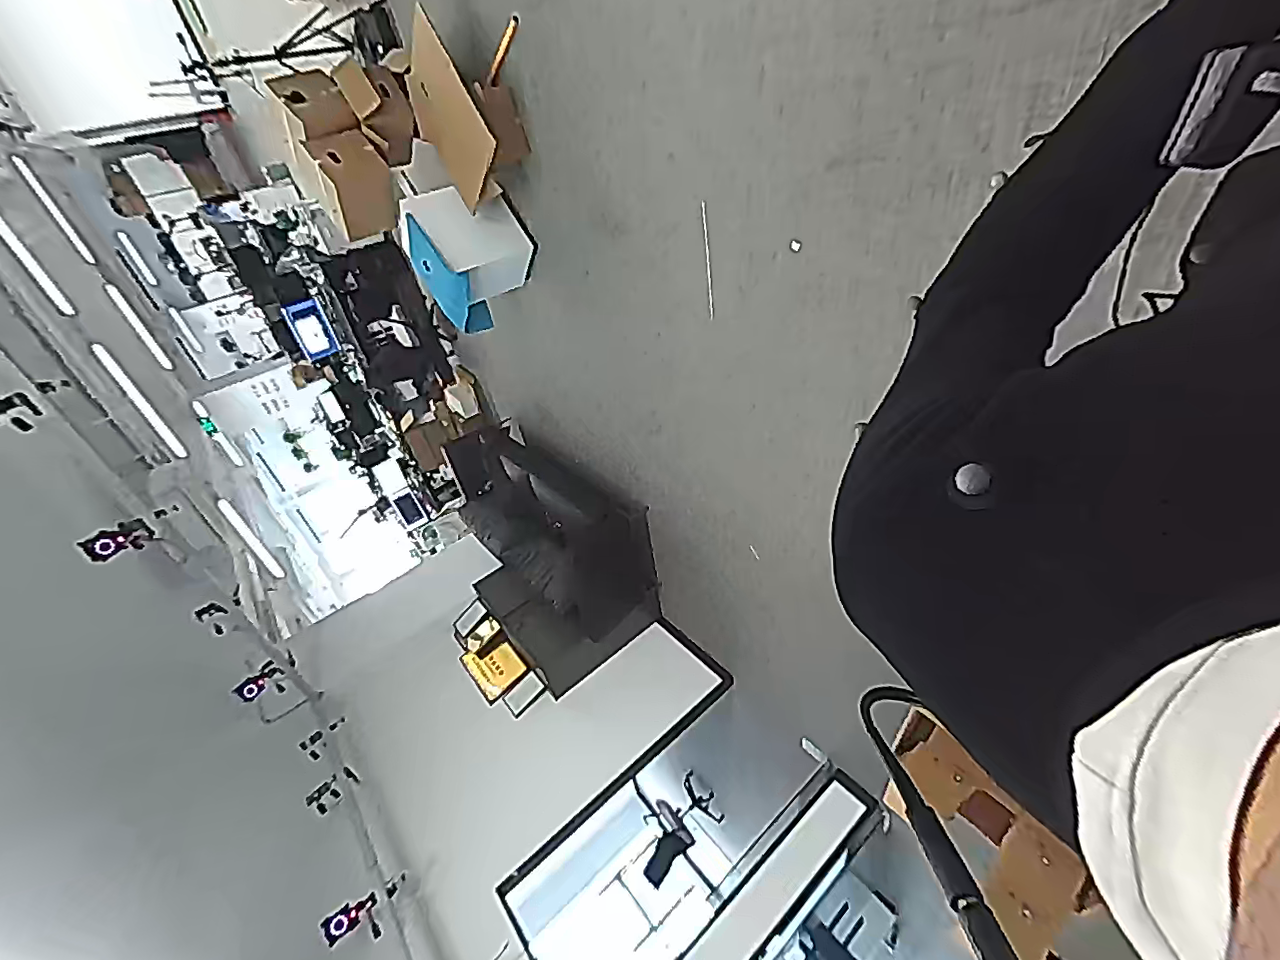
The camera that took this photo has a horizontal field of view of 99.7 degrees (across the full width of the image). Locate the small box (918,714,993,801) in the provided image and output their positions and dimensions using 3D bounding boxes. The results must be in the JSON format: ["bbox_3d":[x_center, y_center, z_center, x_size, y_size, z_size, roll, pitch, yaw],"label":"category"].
[{"bbox_3d":[0.998,0.900,1.745,0.168,0.176,0.179,38,146,37],"label":"small box"}]

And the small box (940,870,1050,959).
[{"bbox_3d":[0.929,1.180,1.417,0.168,0.176,0.179,34,144,39],"label":"small box"}]

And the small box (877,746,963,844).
[{"bbox_3d":[0.866,0.967,1.672,0.168,0.176,0.179,34,144,41],"label":"small box"}]

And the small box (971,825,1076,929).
[{"bbox_3d":[1.054,1.106,1.491,0.168,0.176,0.179,34,144,40],"label":"small box"}]
